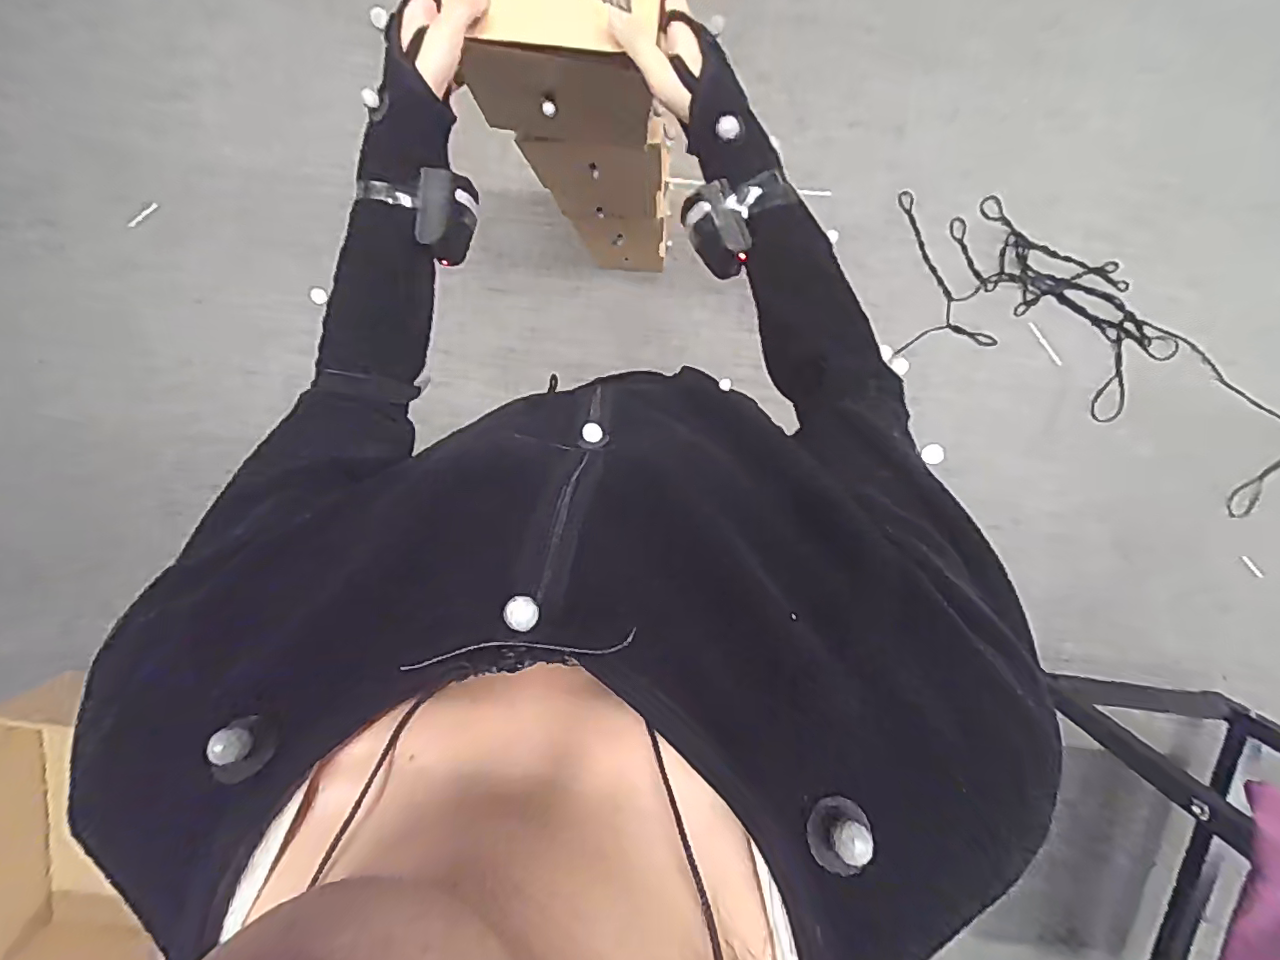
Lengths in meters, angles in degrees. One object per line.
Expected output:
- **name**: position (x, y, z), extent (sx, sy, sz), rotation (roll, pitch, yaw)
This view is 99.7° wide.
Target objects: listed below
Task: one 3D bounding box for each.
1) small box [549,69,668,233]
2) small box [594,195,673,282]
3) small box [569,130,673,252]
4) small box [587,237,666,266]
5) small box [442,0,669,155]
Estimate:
- **small box**: position (-0.044, -0.511, 0.855), extent (0.168, 0.176, 0.179), rotation (3, 99, 2)
- **small box**: position (-0.014, -0.595, 1.337), extent (0.179, 0.176, 0.168), rotation (5, 98, 1)
- **small box**: position (-0.033, -0.536, 1.015), extent (0.179, 0.176, 0.168), rotation (3, 98, 1)
- **small box**: position (-0.030, -0.574, 1.175), extent (0.179, 0.176, 0.168), rotation (5, 99, 1)
- **small box**: position (-0.063, -0.426, 0.496), extent (0.179, 0.176, 0.168), rotation (7, 100, -3)
